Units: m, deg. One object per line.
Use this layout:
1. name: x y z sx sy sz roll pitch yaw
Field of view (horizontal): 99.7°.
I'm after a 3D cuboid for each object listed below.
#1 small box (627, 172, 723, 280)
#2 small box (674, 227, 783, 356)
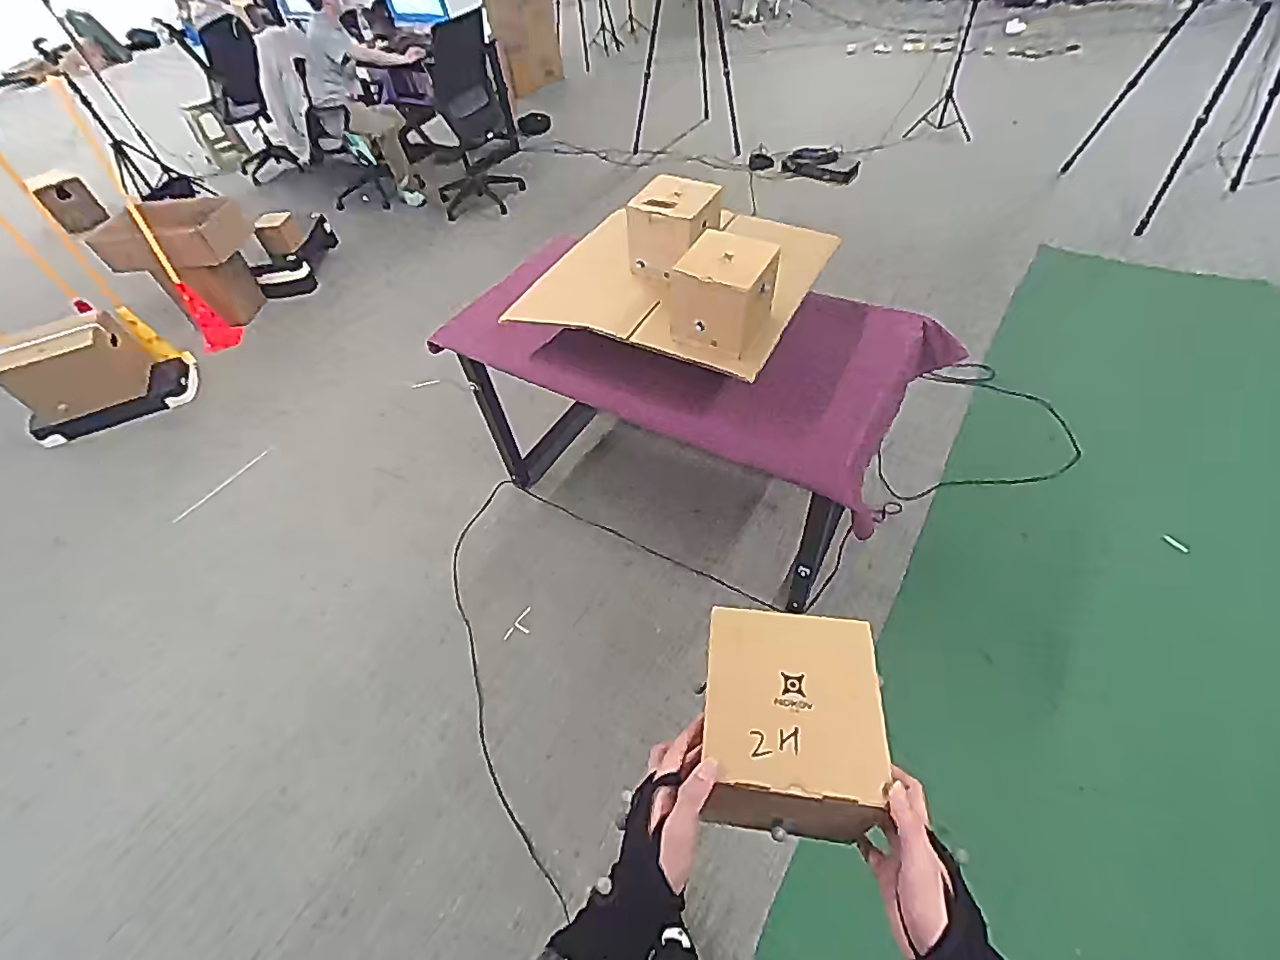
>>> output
1. small box: 0.087 -0.600 1.291 0.168 0.176 0.179 23 57 19
2. small box: 0.179 -0.392 1.128 0.168 0.176 0.179 23 58 20
